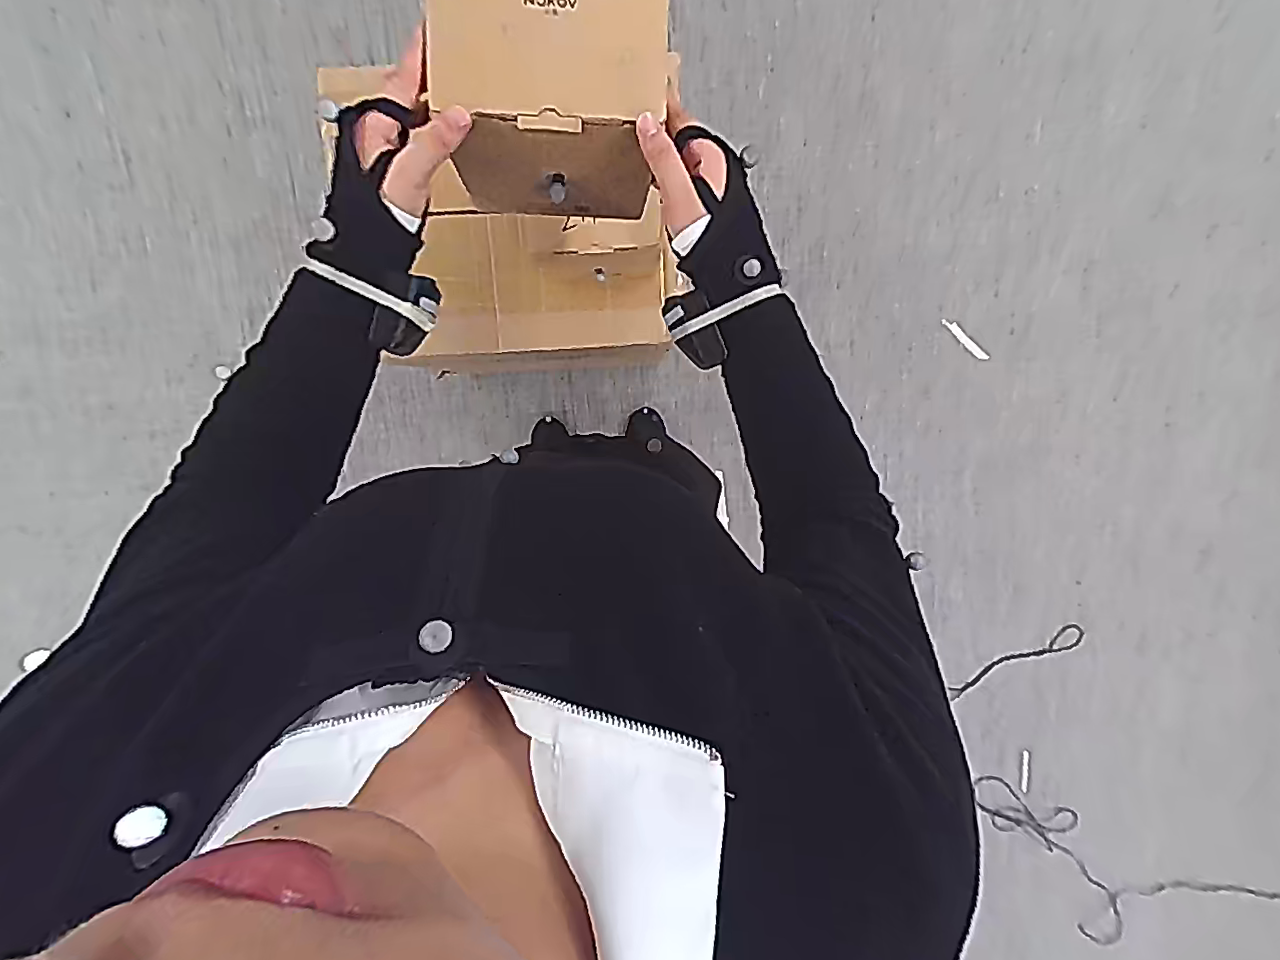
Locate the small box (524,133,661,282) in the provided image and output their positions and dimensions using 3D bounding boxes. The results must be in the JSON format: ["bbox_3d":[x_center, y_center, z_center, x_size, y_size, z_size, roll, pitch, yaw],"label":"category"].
[{"bbox_3d":[-0.062,-0.377,0.725,0.168,0.176,0.179,-4,100,0],"label":"small box"}]

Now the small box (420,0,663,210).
[{"bbox_3d":[-0.071,-0.341,0.443,0.168,0.176,0.179,0,97,-6],"label":"small box"}]
